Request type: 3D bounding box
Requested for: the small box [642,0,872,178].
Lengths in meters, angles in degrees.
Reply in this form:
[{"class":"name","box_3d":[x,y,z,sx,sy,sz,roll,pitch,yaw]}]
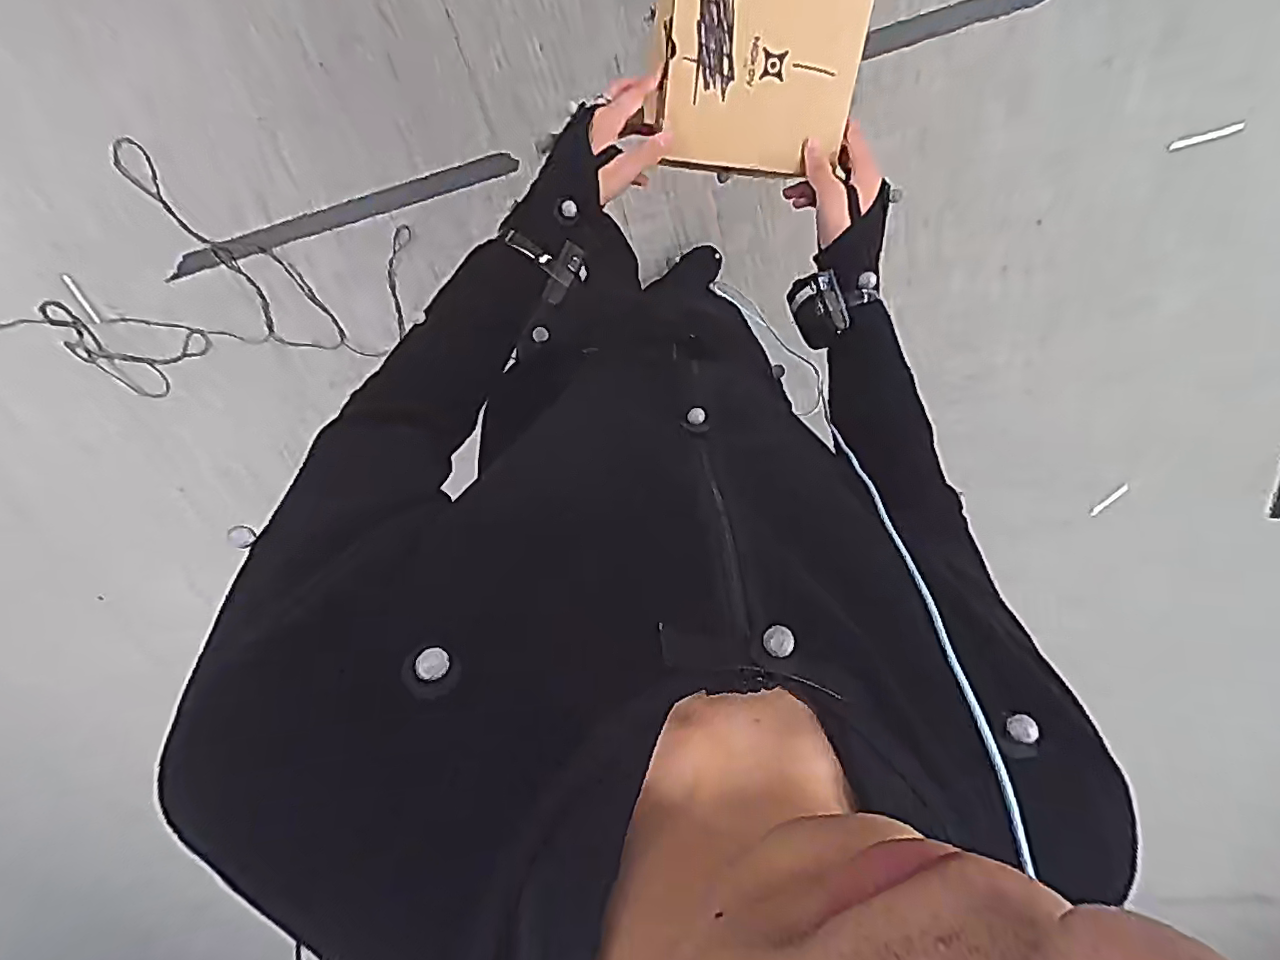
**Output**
[{"class":"small box","box_3d":[0.100,-0.406,0.541,0.179,0.176,0.168,2,119,-8]}]
